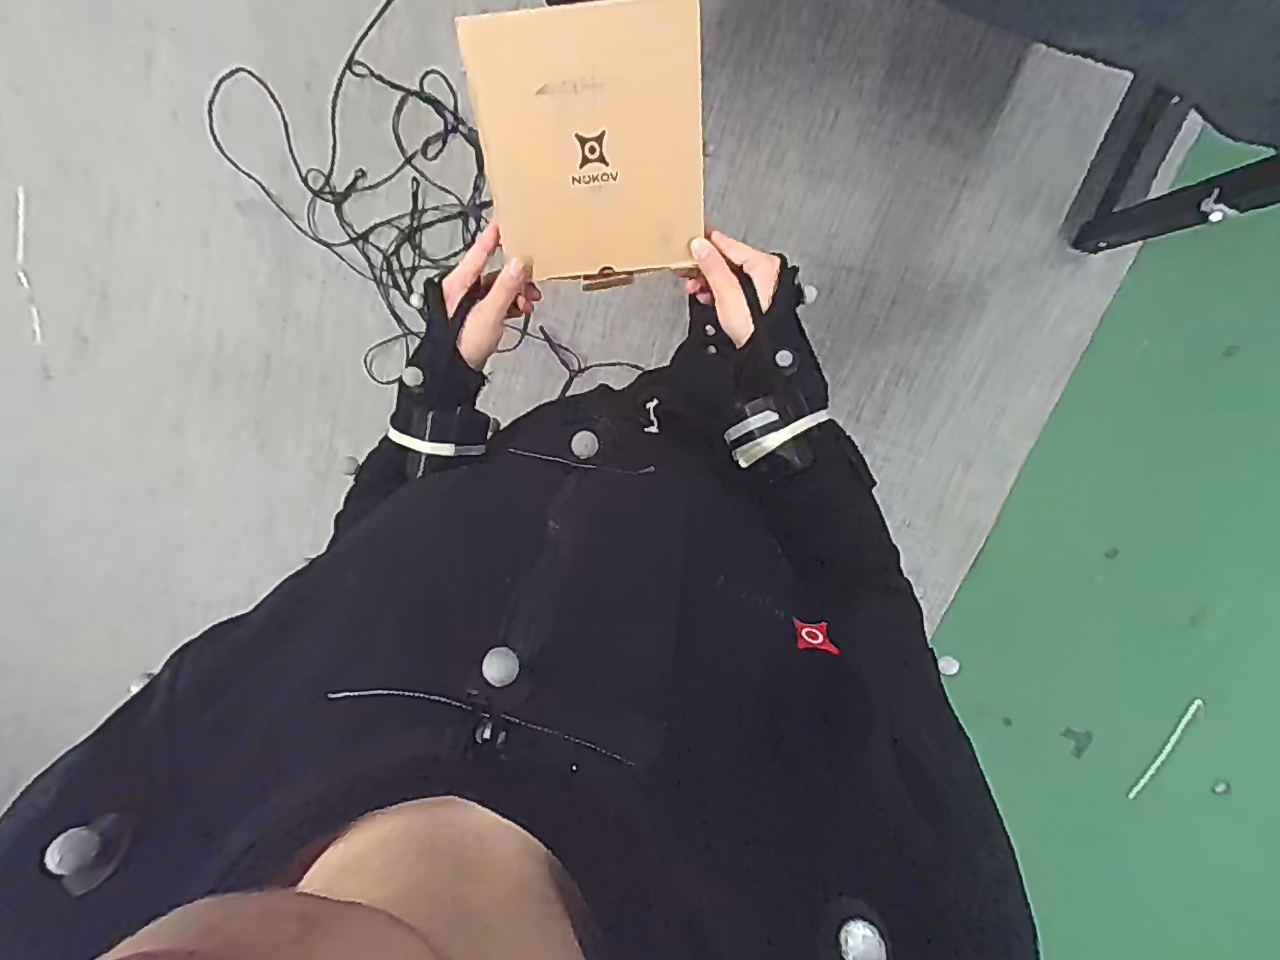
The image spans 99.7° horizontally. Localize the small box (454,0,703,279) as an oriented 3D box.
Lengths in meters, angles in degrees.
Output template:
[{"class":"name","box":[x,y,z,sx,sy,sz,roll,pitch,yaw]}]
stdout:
[{"class":"small box","box":[-0.036,-0.289,0.466,0.168,0.176,0.179,-5,123,2]}]
